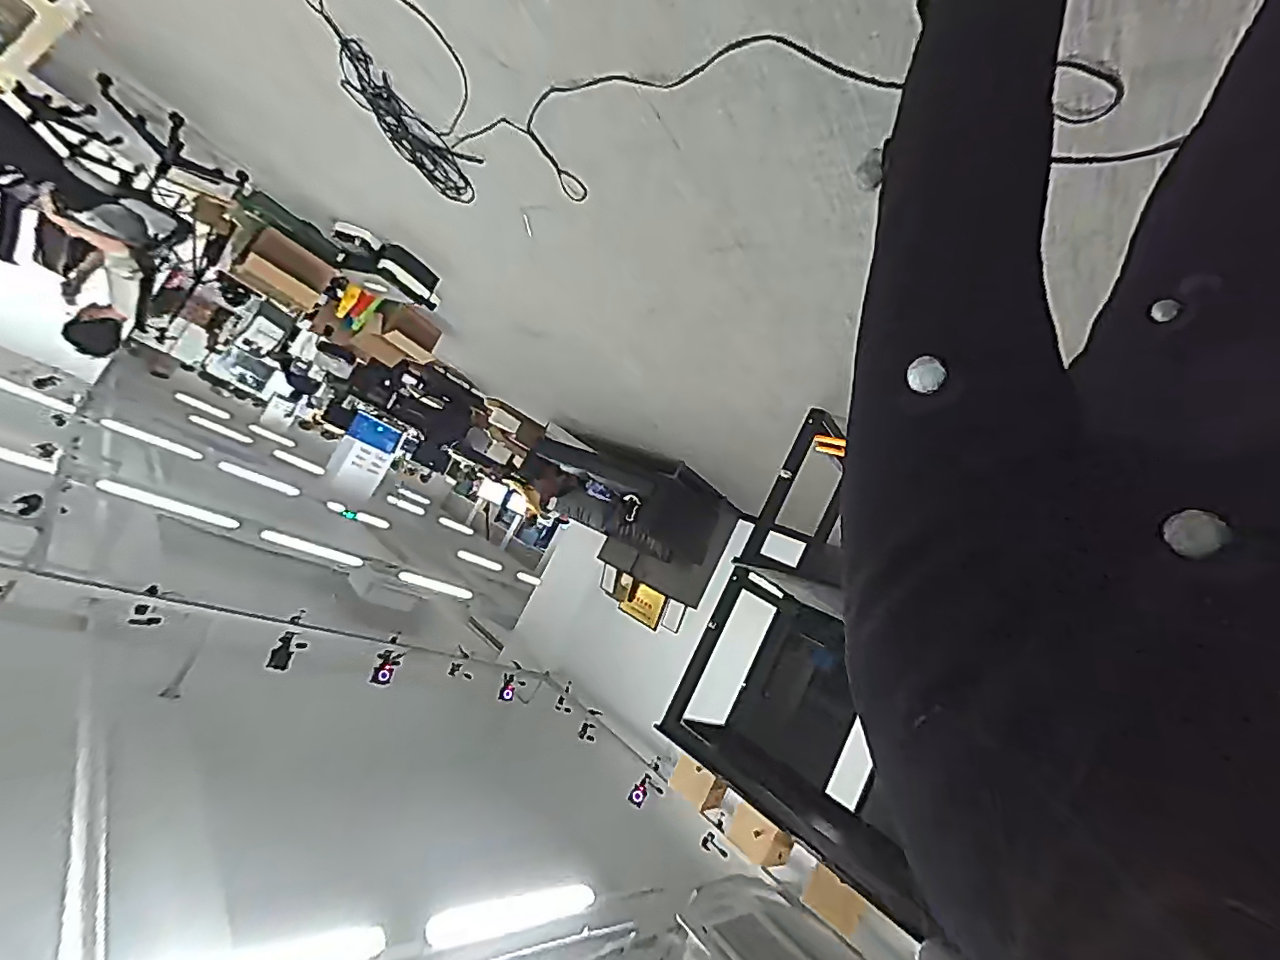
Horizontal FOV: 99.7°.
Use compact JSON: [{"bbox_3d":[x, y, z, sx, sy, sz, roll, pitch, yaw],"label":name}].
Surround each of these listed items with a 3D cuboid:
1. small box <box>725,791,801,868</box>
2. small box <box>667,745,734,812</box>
[{"bbox_3d":[0.436,1.225,1.904,0.179,0.176,0.168,33,171,-40],"label":"small box"},{"bbox_3d":[0.241,1.158,2.114,0.168,0.176,0.179,21,169,39],"label":"small box"}]
